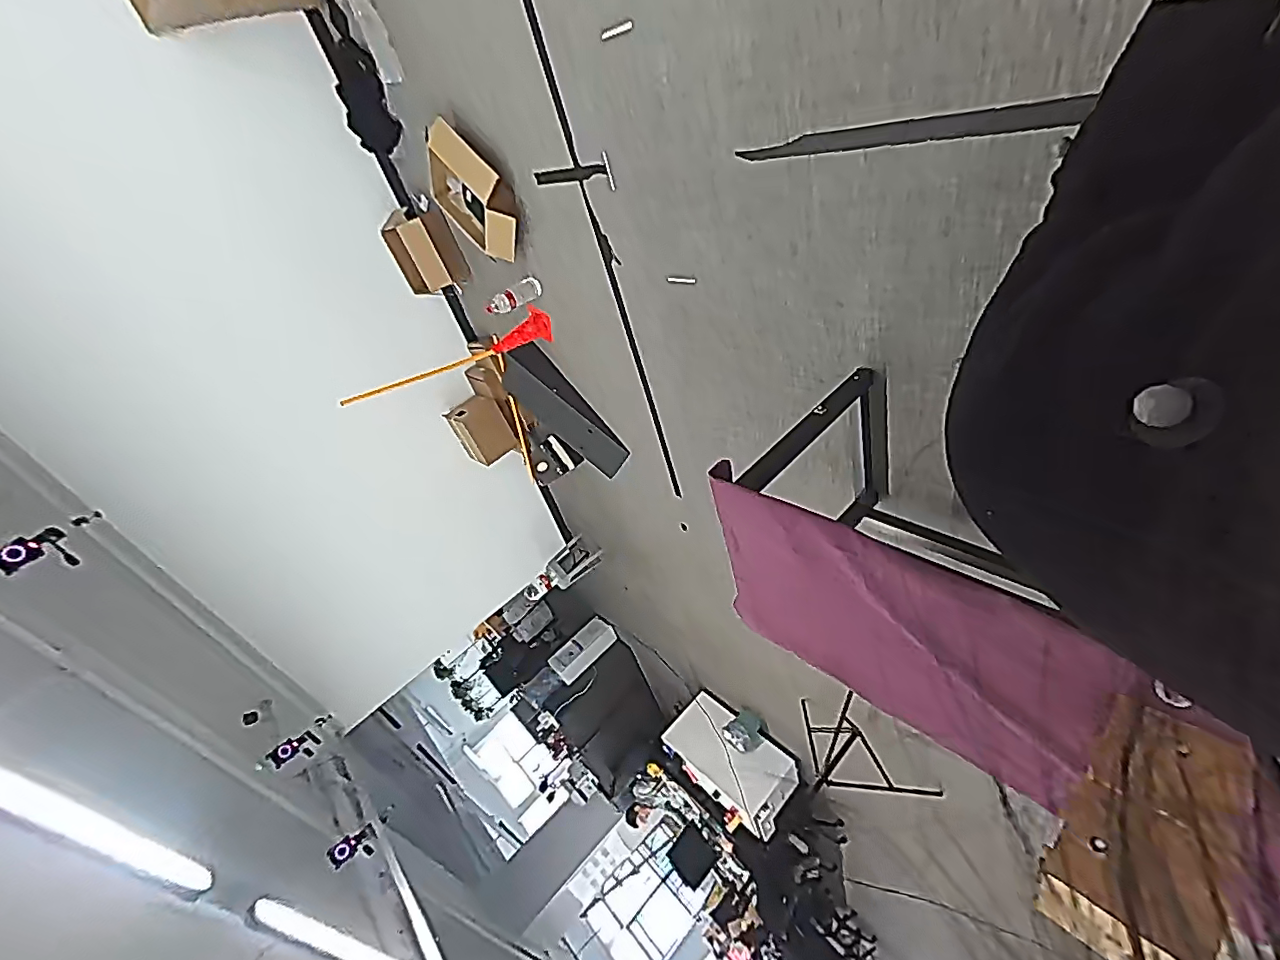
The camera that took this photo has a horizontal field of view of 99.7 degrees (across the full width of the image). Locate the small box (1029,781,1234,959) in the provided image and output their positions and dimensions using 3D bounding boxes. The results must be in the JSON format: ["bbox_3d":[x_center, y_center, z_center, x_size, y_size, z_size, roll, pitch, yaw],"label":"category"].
[{"bbox_3d":[0.706,0.578,0.789,0.179,0.176,0.168,20,143,46],"label":"small box"}]

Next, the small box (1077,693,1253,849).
[{"bbox_3d":[0.818,0.483,0.858,0.168,0.176,0.179,22,143,45],"label":"small box"}]
